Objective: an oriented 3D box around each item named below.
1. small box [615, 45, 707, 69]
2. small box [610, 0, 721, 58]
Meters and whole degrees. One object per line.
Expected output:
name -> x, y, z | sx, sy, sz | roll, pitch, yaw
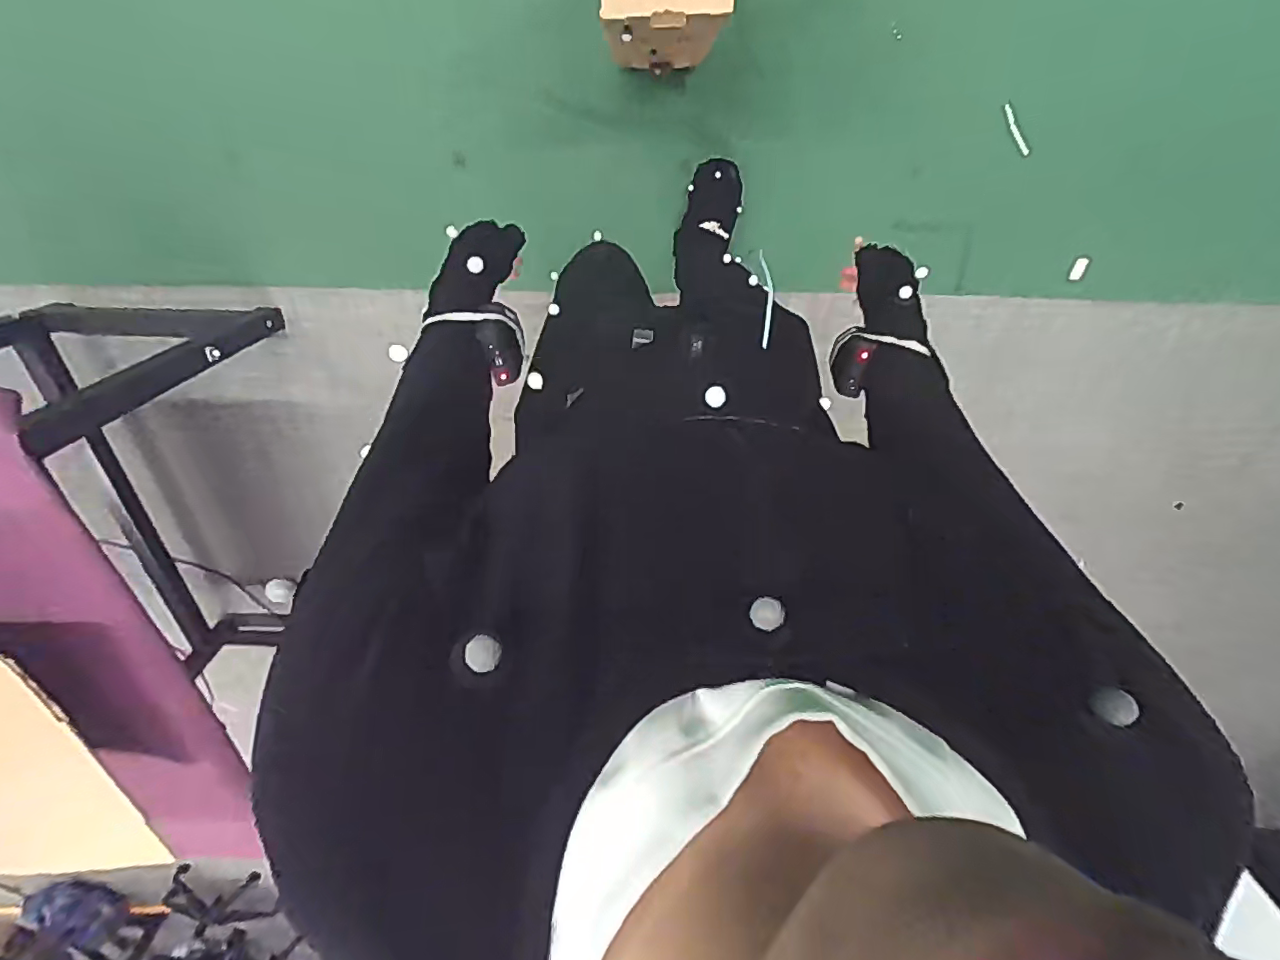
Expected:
small box -> 0.038, -0.864, 0.977 | 0.168, 0.176, 0.179 | 0, 122, 1
small box -> 0.035, -0.779, 0.838 | 0.168, 0.176, 0.179 | -2, 123, 1
